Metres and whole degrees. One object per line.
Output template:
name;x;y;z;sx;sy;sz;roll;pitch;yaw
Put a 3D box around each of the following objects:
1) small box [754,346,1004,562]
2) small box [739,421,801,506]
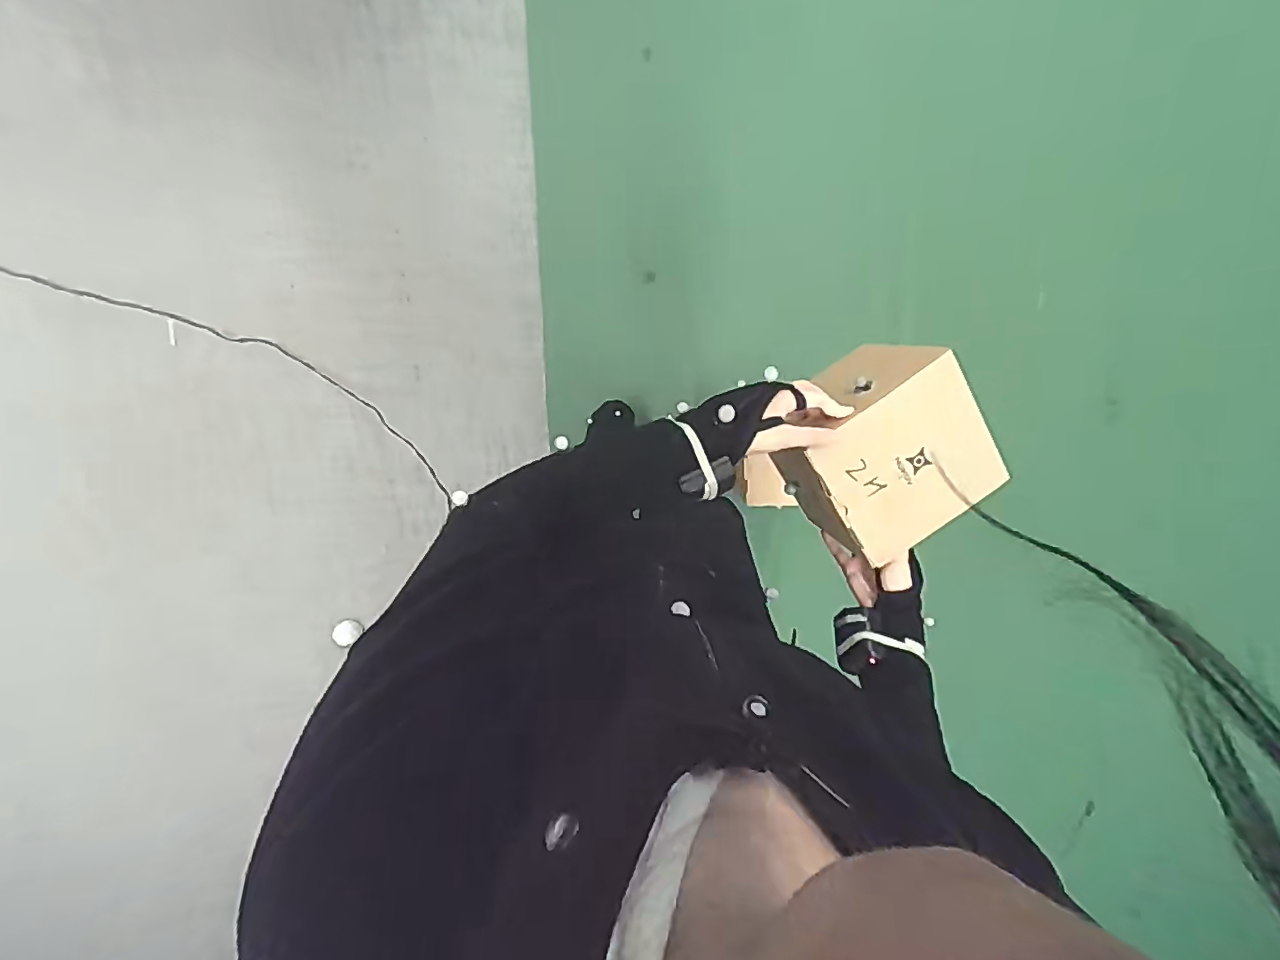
small box;0.264;-0.043;0.633;0.179;0.176;0.168;-36;106;4
small box;0.323;-0.044;1.208;0.179;0.176;0.168;-1;102;3
